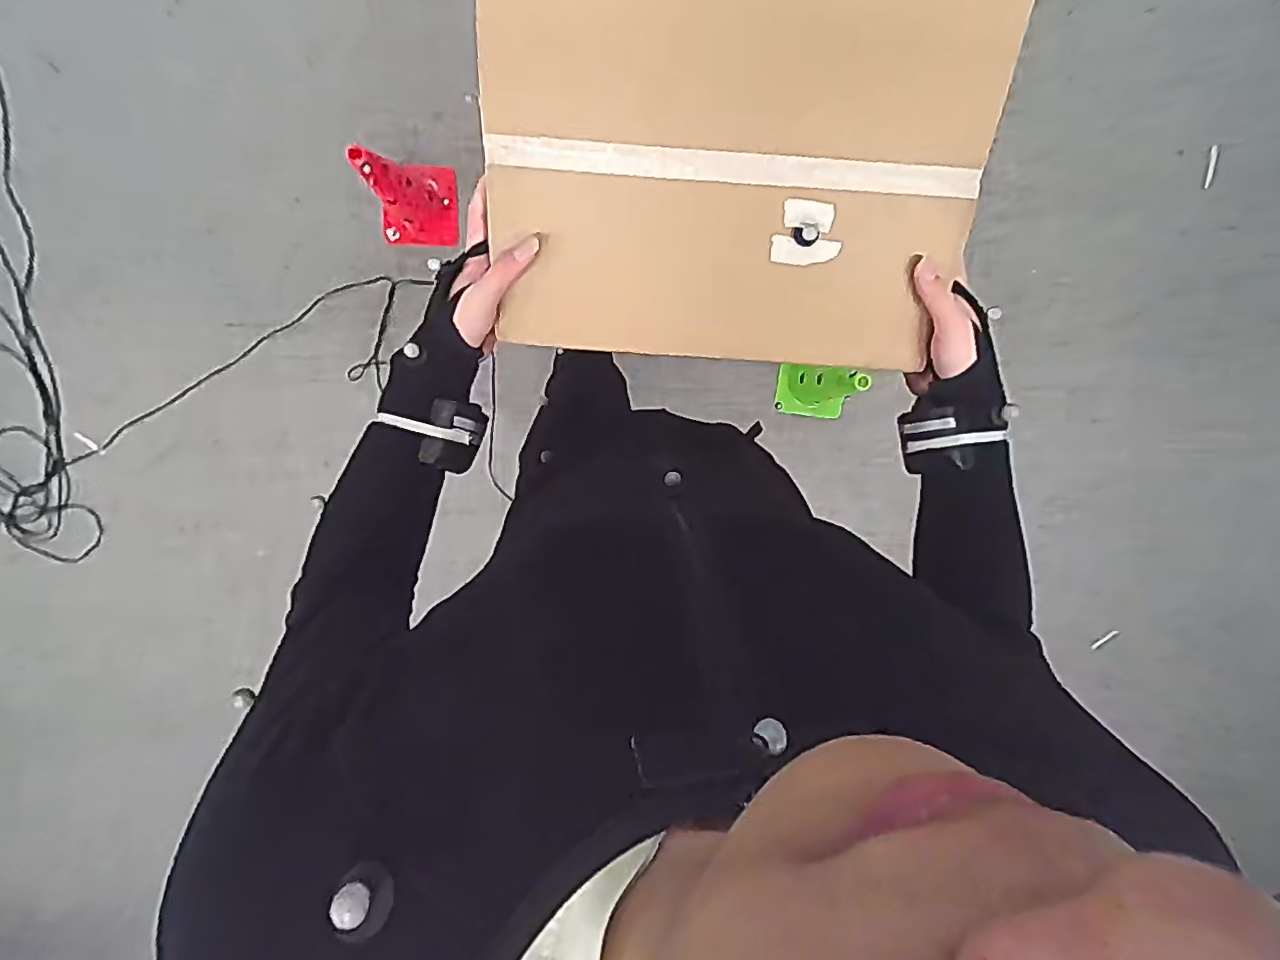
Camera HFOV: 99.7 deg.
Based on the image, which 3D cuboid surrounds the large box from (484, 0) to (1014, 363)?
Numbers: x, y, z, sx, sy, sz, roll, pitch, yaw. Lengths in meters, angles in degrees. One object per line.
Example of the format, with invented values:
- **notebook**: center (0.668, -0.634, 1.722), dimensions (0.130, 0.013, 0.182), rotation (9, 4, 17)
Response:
- **large box**: center (0.075, -0.321, 0.585), dimensions (0.408, 0.320, 0.320), rotation (3, 116, -2)

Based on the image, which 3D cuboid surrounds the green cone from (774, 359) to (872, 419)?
- **green cone**: center (0.505, -0.255, 1.401), dimensions (0.200, 0.368, 0.202), rotation (6, 99, -3)
